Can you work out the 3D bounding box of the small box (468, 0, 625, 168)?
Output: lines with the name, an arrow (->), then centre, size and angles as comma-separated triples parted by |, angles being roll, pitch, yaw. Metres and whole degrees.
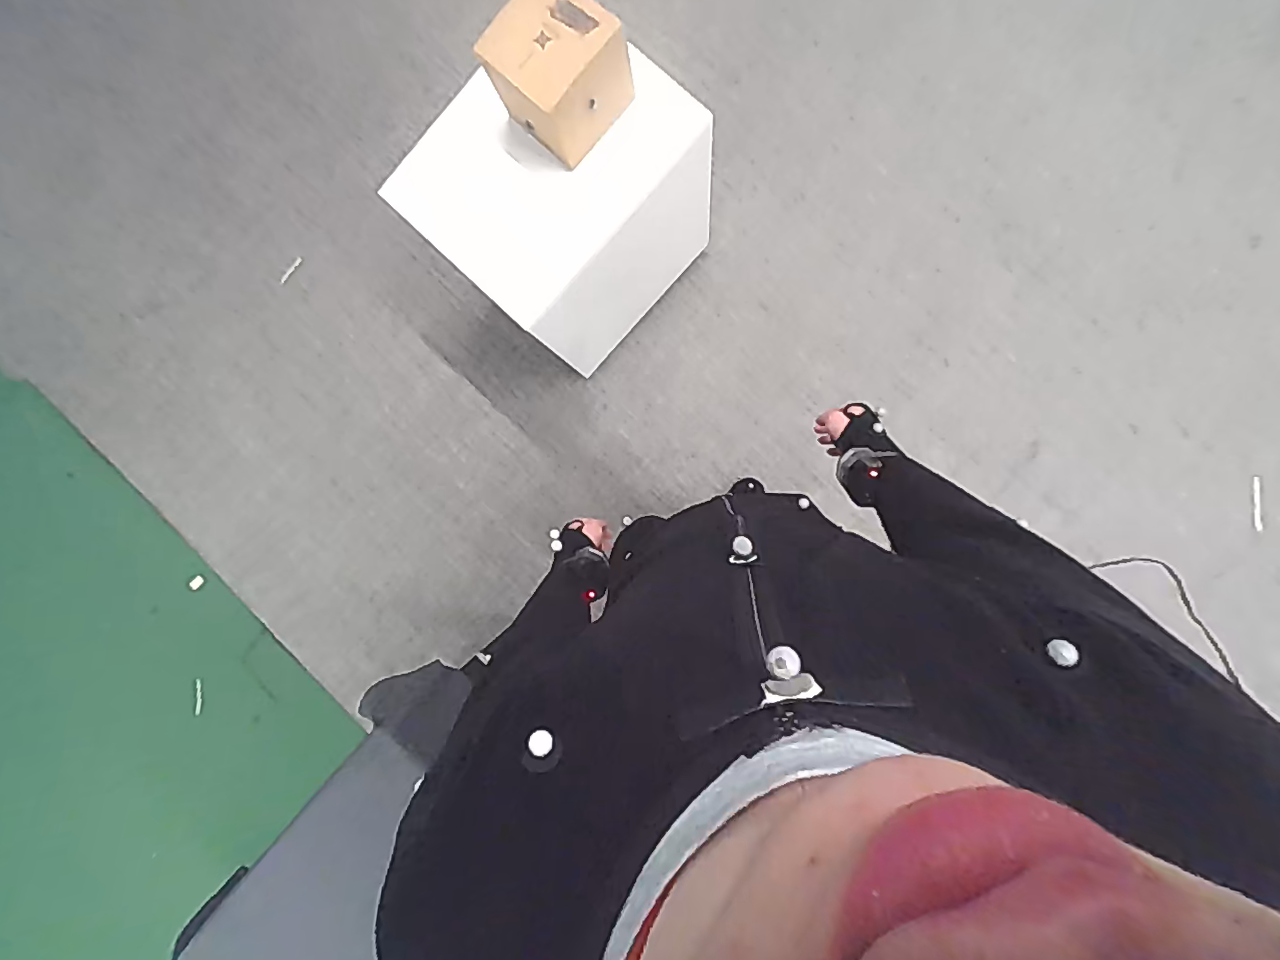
small box -> -0.139, -0.667, 0.885 | 0.168, 0.176, 0.179 | 43, 95, 3
